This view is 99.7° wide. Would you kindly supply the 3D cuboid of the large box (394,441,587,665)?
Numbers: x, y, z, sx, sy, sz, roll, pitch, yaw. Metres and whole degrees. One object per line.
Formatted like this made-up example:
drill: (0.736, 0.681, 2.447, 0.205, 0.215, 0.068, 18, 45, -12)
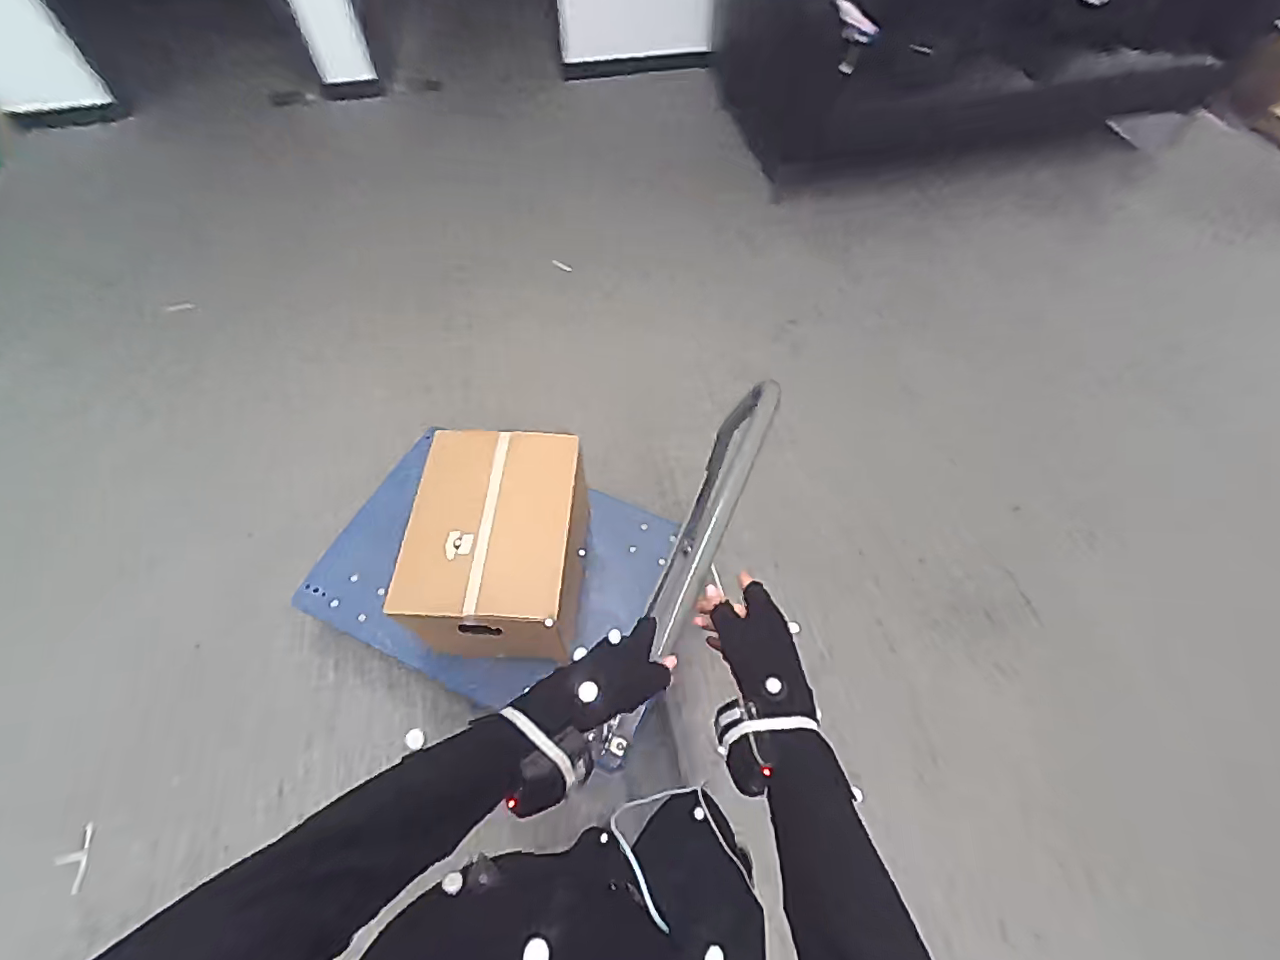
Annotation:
large box: (-0.291, 0.166, 1.199, 0.320, 0.320, 0.408, 2, 59, 1)
